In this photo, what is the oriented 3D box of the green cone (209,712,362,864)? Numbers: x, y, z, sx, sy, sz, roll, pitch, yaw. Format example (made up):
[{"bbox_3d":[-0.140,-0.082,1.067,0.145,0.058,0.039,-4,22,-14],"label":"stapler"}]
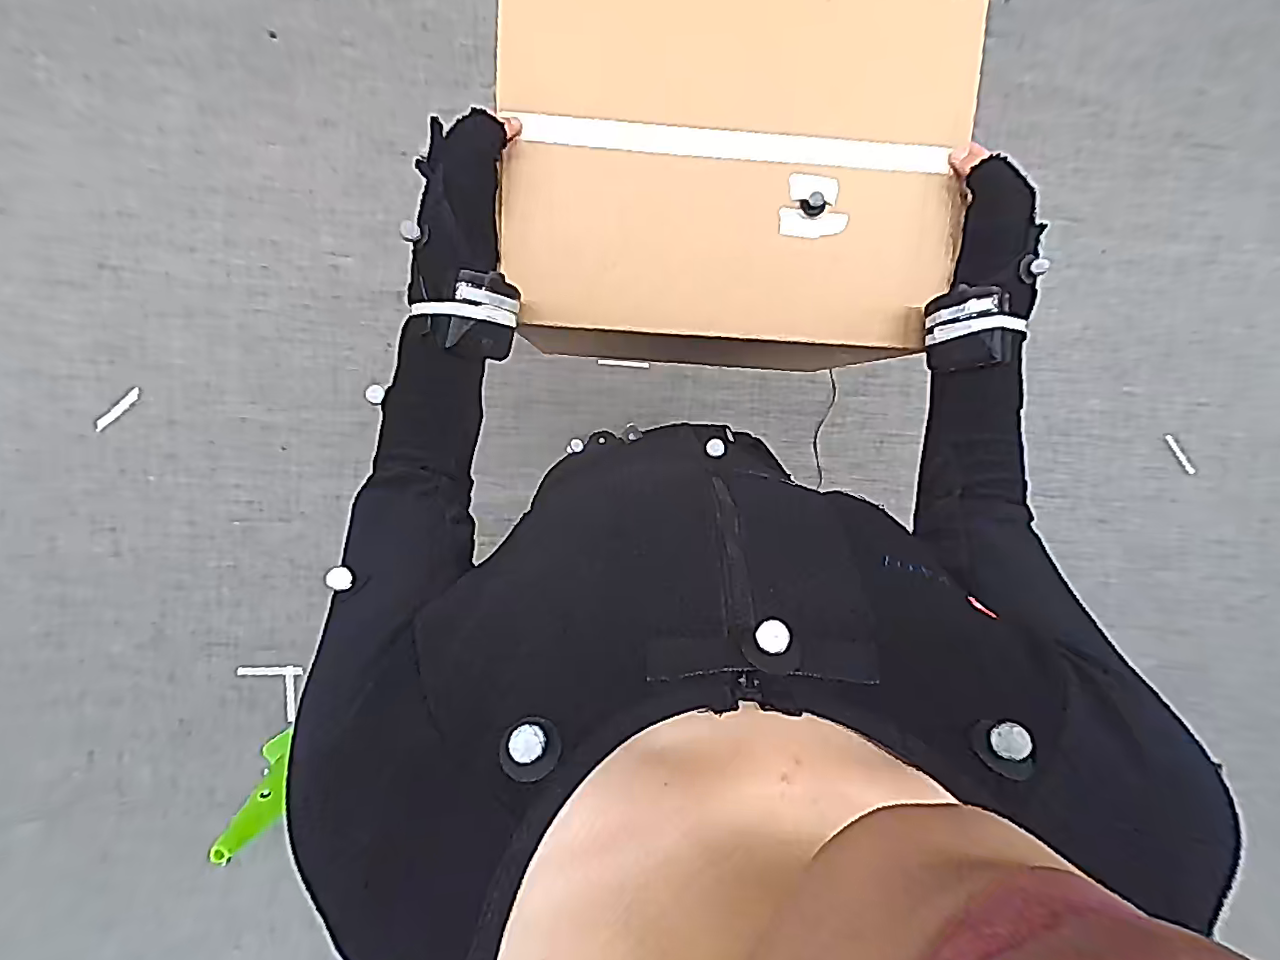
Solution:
[{"bbox_3d":[-0.894,0.776,1.322,0.202,0.368,0.200,-35,94,2],"label":"green cone"}]

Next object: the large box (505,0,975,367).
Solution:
[{"bbox_3d":[0.073,-0.304,0.612,0.408,0.320,0.320,2,98,-4],"label":"large box"}]
